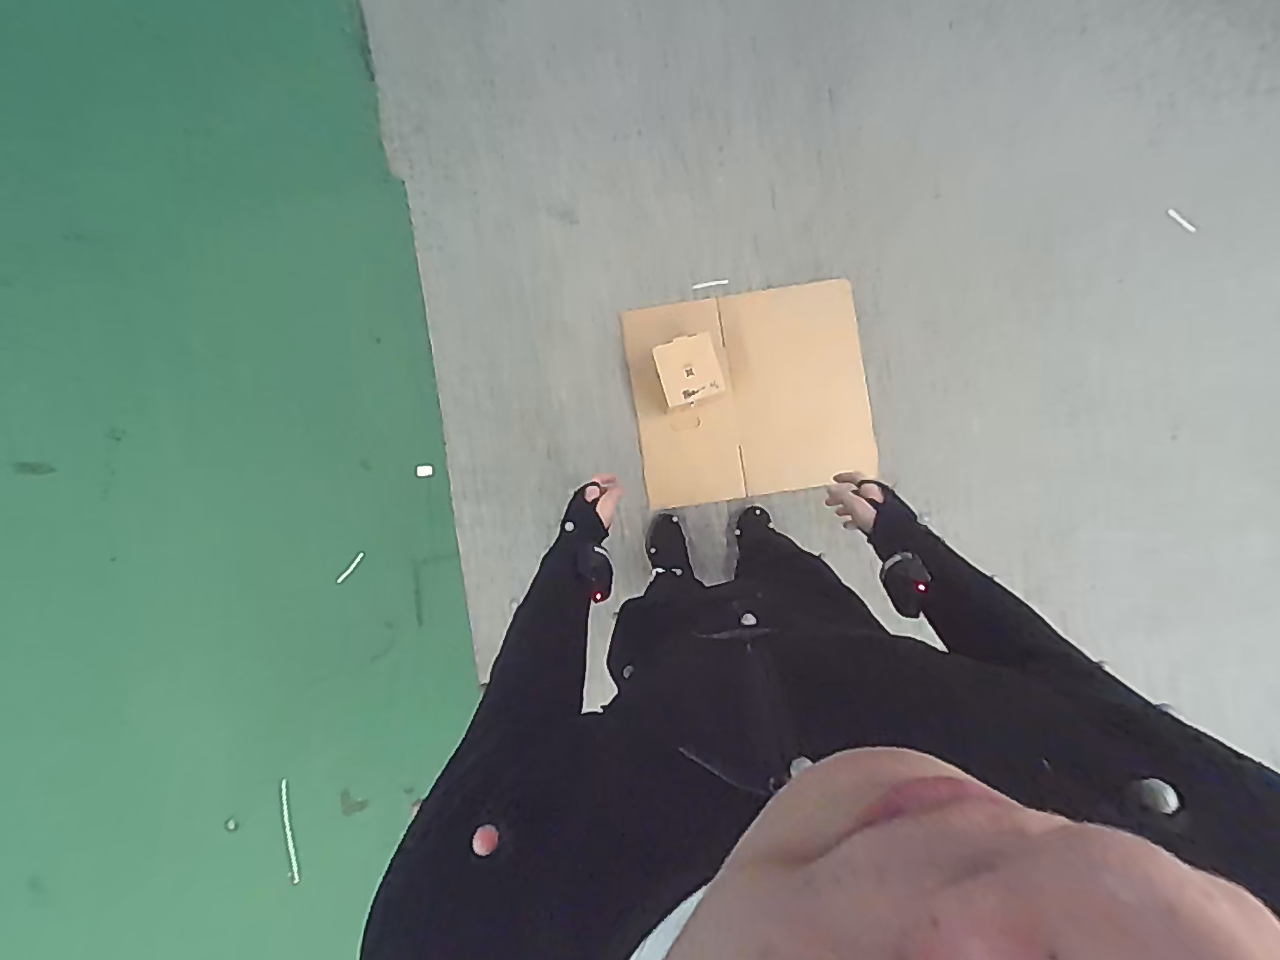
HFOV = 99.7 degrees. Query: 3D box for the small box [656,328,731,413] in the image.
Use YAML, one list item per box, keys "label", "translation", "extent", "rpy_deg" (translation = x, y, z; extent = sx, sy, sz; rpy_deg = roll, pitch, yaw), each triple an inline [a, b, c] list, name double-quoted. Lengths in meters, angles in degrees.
- label: "small box"
  translation: [0.144, -0.303, 1.530]
  extent: [0.168, 0.176, 0.179]
  rpy_deg: [-16, 88, 1]
